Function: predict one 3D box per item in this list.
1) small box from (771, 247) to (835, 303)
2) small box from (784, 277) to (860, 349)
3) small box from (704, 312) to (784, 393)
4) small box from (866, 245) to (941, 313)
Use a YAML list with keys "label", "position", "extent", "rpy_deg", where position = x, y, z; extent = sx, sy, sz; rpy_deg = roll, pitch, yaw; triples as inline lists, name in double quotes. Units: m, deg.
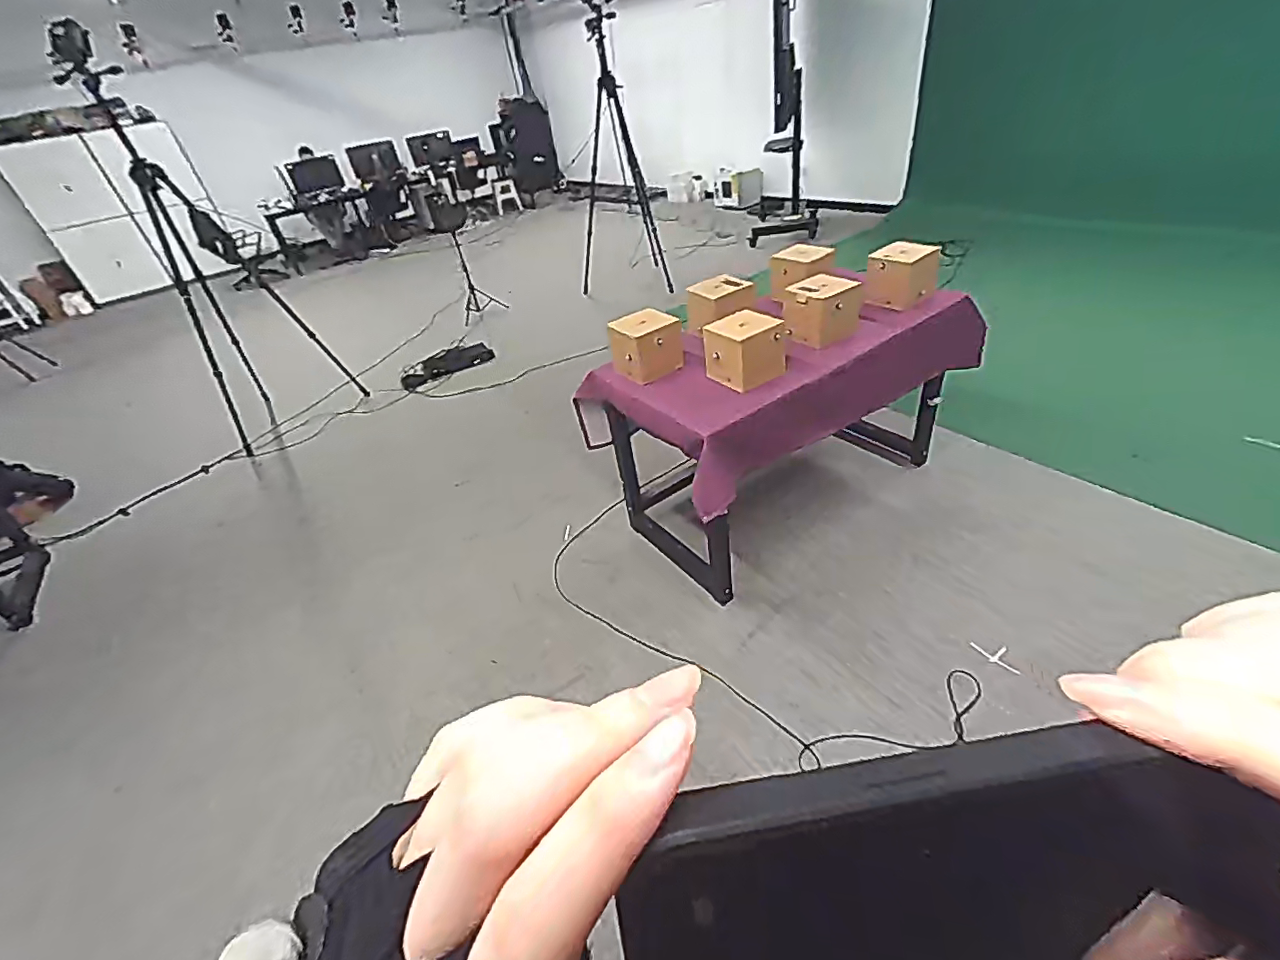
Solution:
- label: "small box"
  position: [0.616, -0.771, 2.058]
  extent: [0.168, 0.176, 0.179]
  rpy_deg: [-31, 42, -24]
- label: "small box"
  position: [0.592, -0.546, 1.771]
  extent: [0.179, 0.176, 0.168]
  rpy_deg: [-26, 40, -21]
- label: "small box"
  position: [0.315, -0.383, 1.626]
  extent: [0.179, 0.176, 0.168]
  rpy_deg: [-27, 40, -22]
- label: "small box"
  position: [0.920, -0.710, 1.905]
  extent: [0.179, 0.176, 0.168]
  rpy_deg: [-29, 40, -23]
